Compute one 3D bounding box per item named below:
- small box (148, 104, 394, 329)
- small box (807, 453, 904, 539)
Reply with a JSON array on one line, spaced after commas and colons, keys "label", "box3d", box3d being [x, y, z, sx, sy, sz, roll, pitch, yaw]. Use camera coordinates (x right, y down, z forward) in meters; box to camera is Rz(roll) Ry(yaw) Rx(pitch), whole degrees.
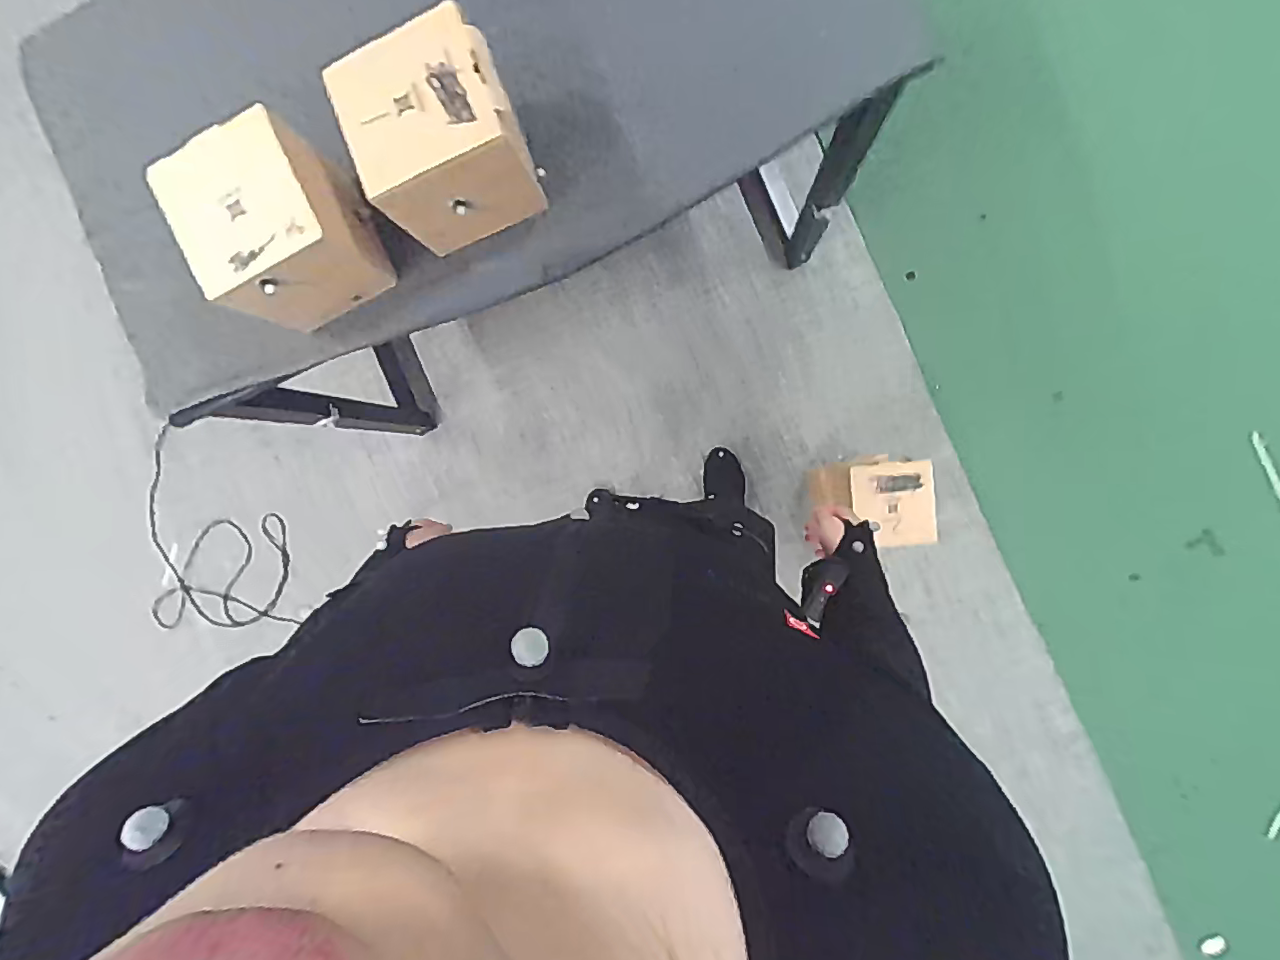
[{"label": "small box", "box3d": [-0.465, -0.325, 0.707, 0.168, 0.176, 0.179, -25, 89, 7]}, {"label": "small box", "box3d": [0.532, 0.033, 1.353, 0.168, 0.176, 0.179, -15, 91, 6]}]
